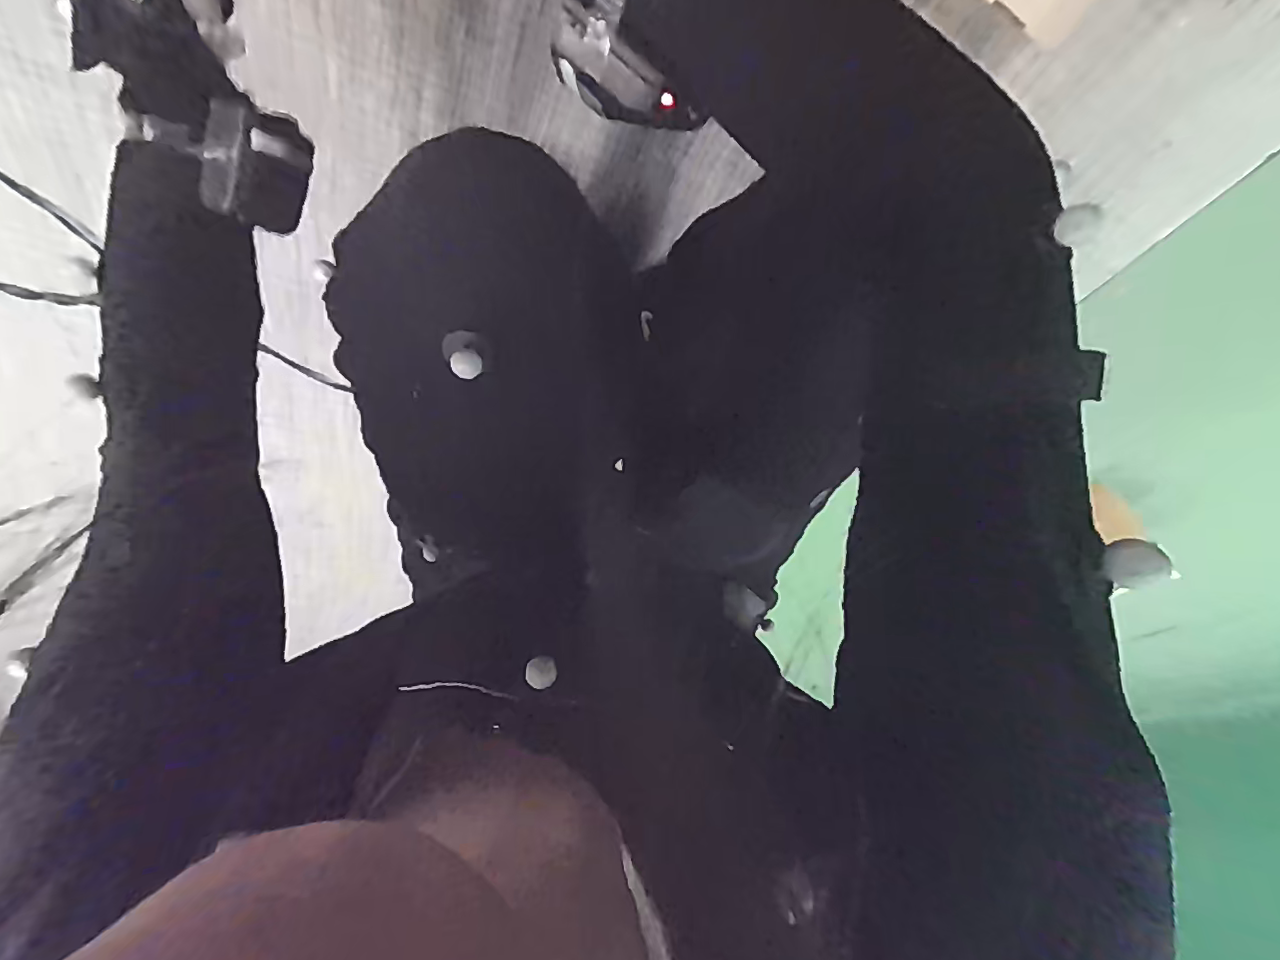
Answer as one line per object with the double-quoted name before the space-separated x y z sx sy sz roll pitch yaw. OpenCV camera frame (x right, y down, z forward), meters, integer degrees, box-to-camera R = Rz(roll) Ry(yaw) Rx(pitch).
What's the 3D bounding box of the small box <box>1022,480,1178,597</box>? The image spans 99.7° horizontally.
"small box" 0.947 0.122 1.124 0.179 0.176 0.168 22 138 -29
